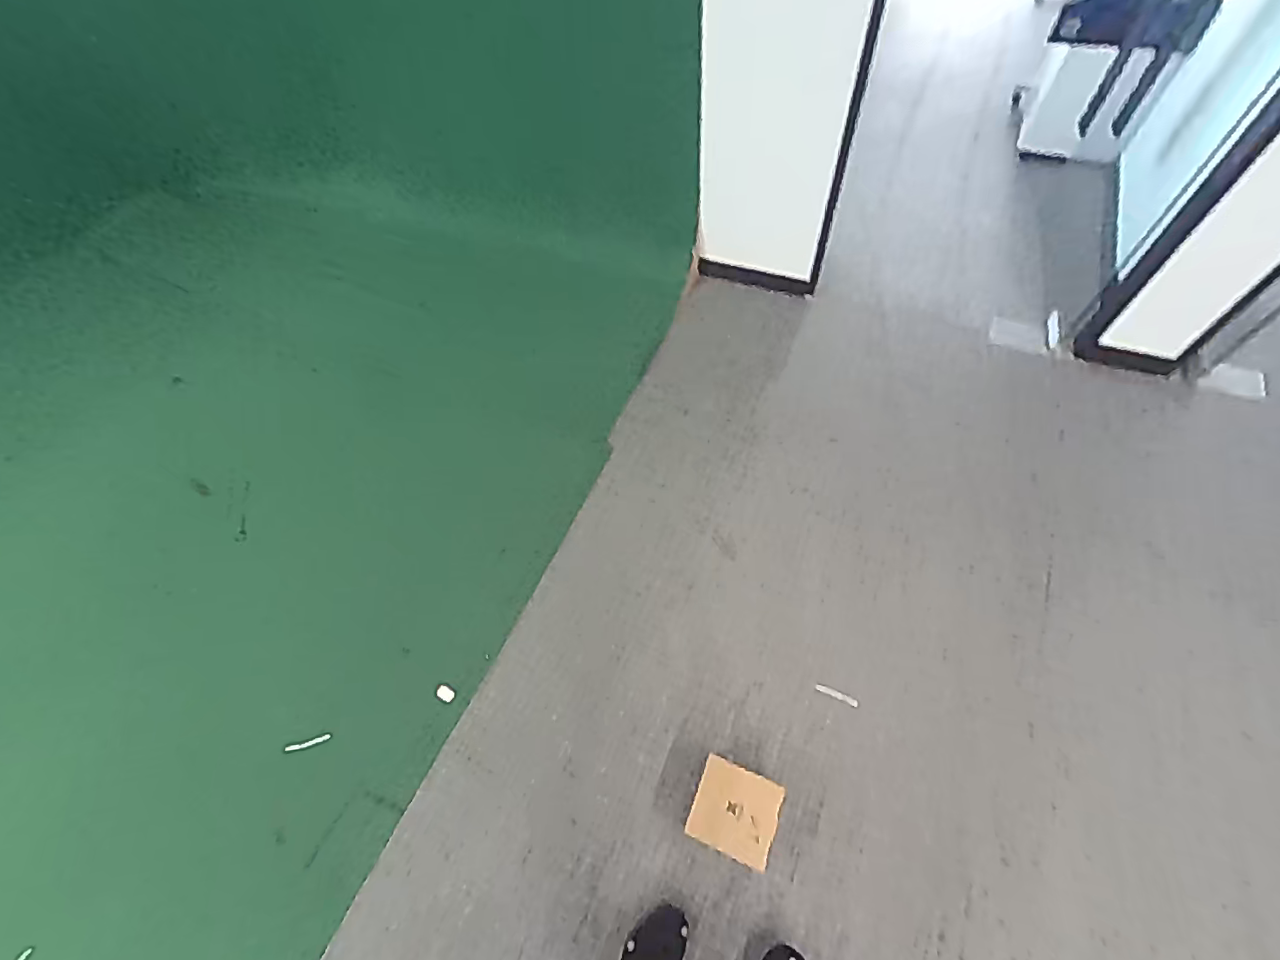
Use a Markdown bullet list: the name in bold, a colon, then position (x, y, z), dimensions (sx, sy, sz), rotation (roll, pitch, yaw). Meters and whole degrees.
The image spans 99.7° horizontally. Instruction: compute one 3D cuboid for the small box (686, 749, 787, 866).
- **small box**: position (0.213, 0.737, 1.224), dimensions (0.179, 0.176, 0.168), rotation (19, 63, 15)
